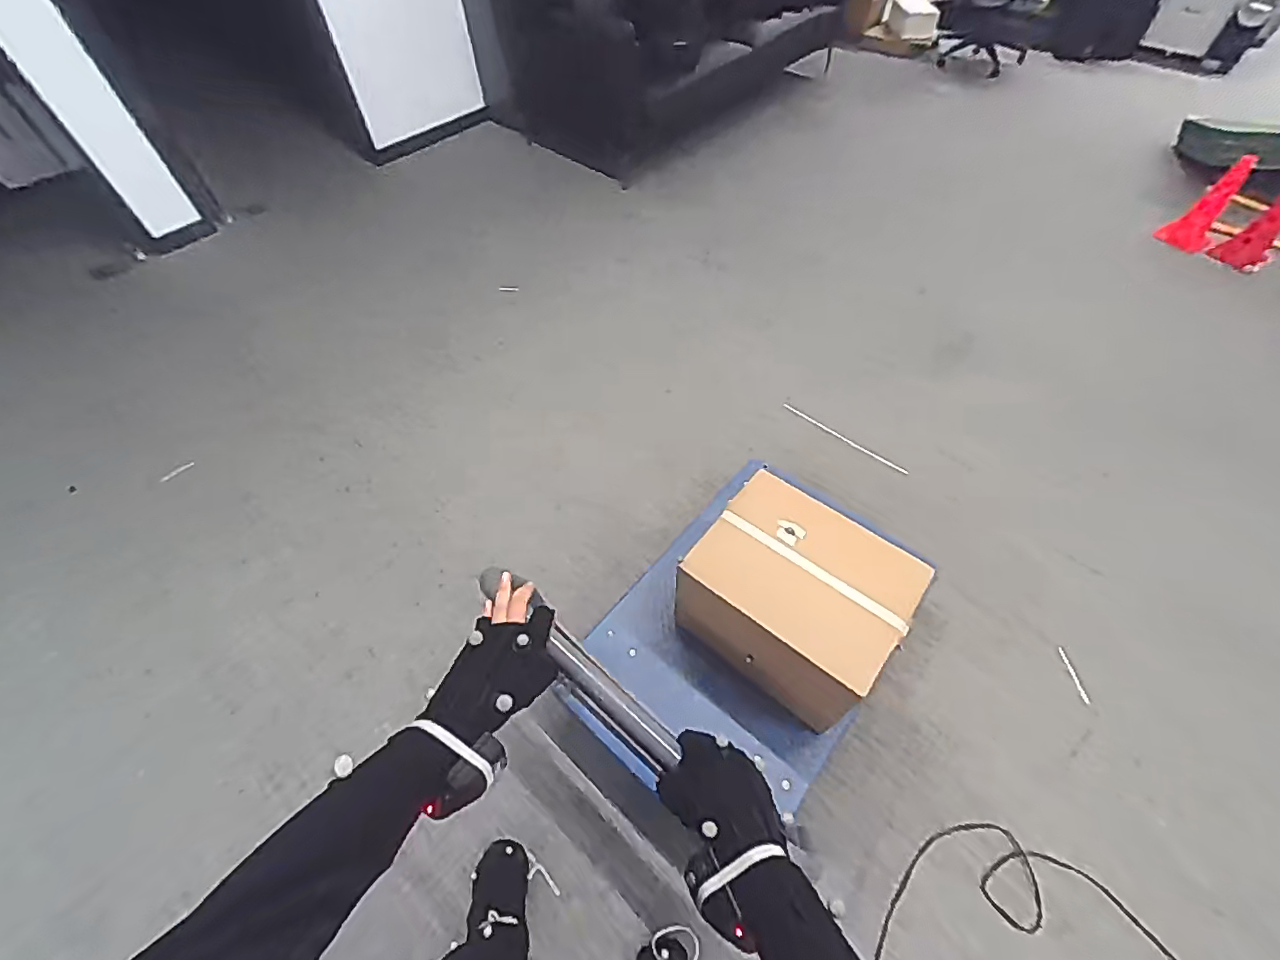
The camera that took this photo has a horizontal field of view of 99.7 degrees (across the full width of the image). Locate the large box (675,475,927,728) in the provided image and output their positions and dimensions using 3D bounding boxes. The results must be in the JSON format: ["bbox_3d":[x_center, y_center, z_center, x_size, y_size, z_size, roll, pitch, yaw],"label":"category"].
[{"bbox_3d":[0.328,0.267,1.198,0.408,0.320,0.320,33,62,24],"label":"large box"}]
